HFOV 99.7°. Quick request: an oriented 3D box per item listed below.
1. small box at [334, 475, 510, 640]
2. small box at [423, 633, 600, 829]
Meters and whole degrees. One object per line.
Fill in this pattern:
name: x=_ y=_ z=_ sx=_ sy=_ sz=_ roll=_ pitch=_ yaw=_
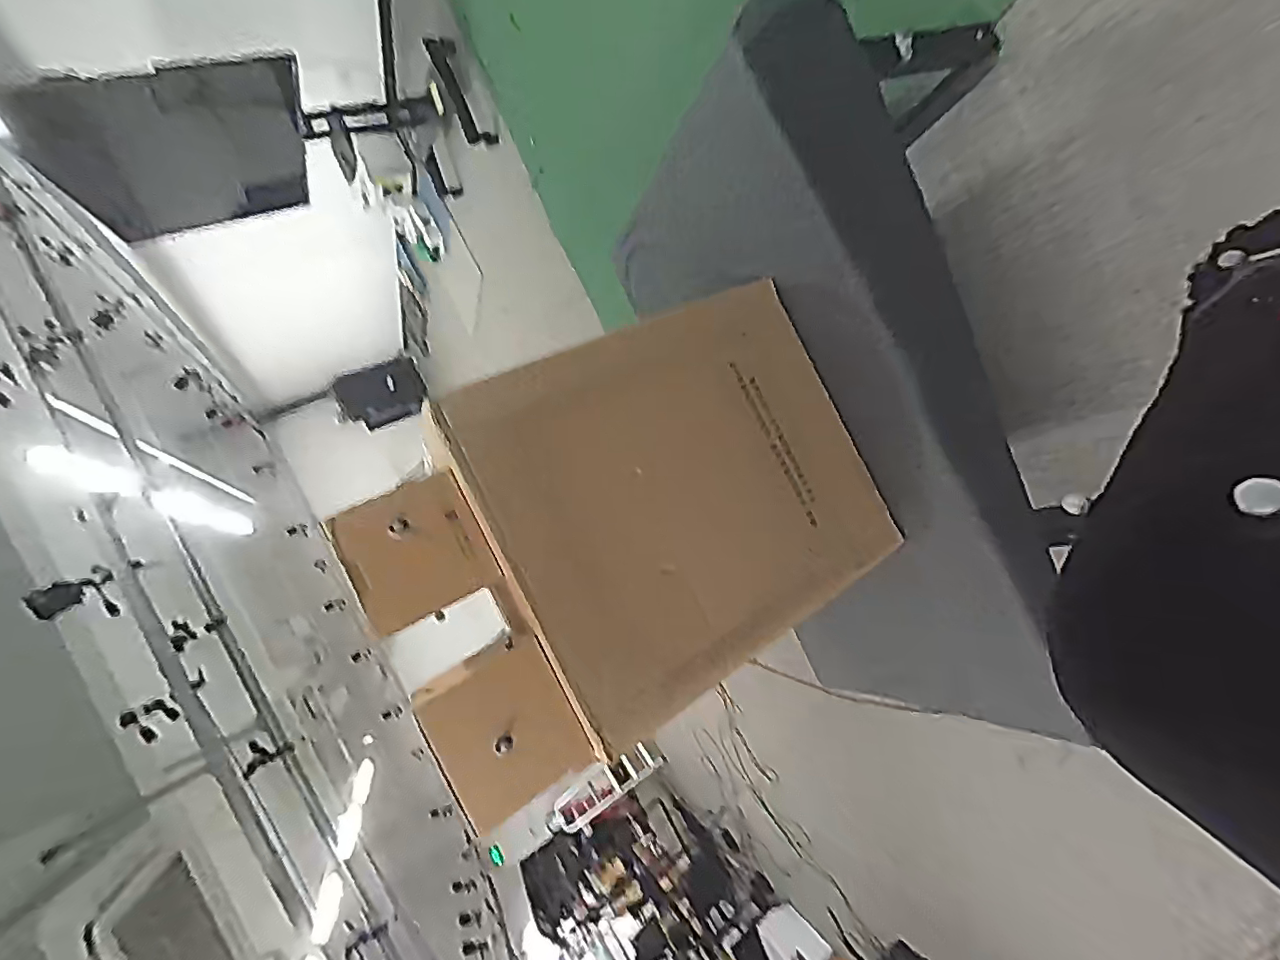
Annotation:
small box: x=-0.301 y=0.106 z=0.766 sx=0.168 sy=0.176 sz=0.179 roll=64 pitch=155 yaw=1
small box: x=-0.183 y=0.328 z=0.752 sx=0.179 sy=0.176 sz=0.168 roll=62 pitch=153 yaw=4
